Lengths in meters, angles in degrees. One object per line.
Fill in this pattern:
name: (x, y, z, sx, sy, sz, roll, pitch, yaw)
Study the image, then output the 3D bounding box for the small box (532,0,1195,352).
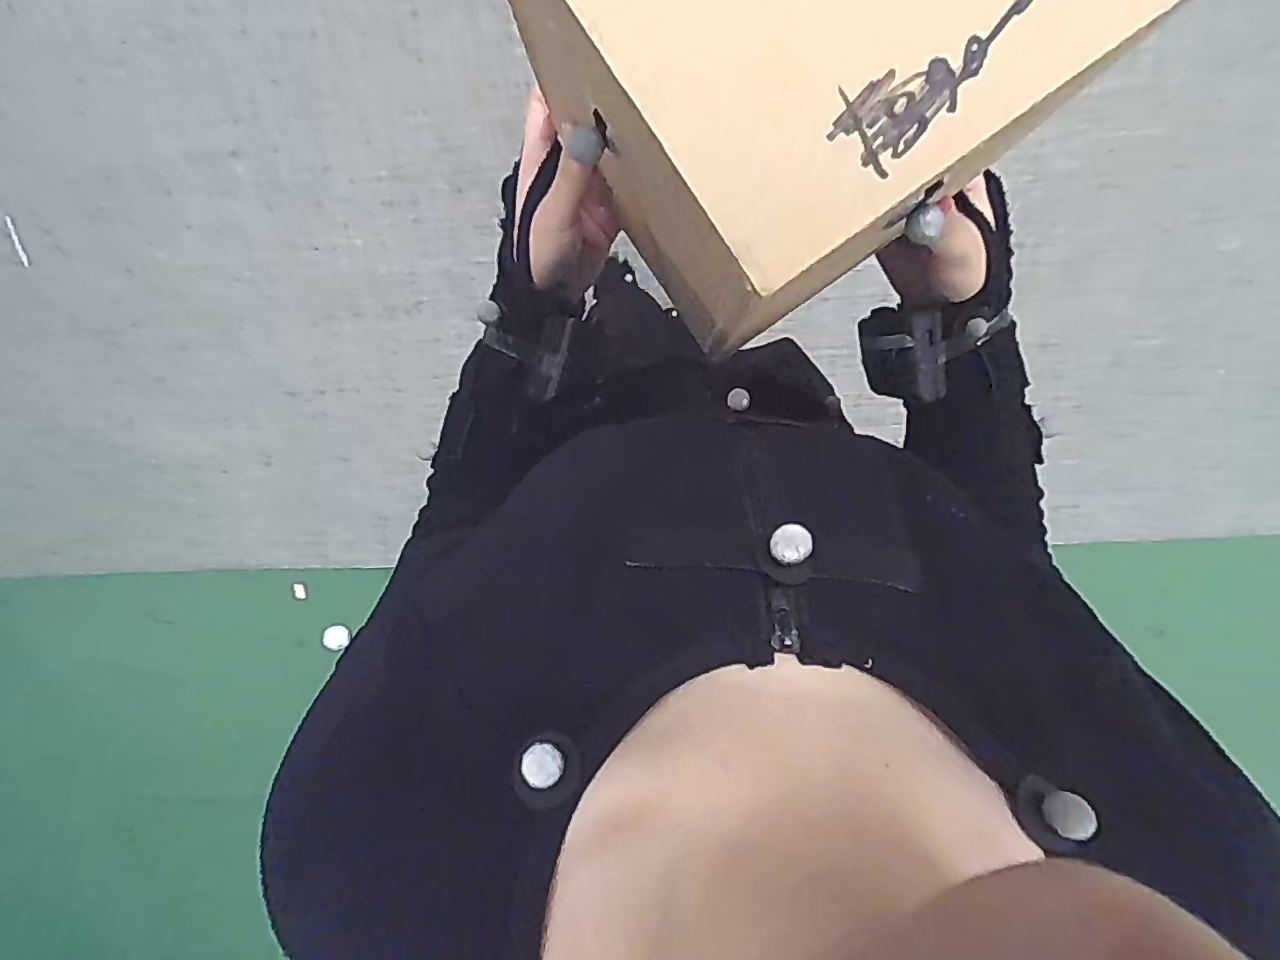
small box: (0.065, -0.181, 0.245, 0.168, 0.176, 0.179, -35, 92, 6)
